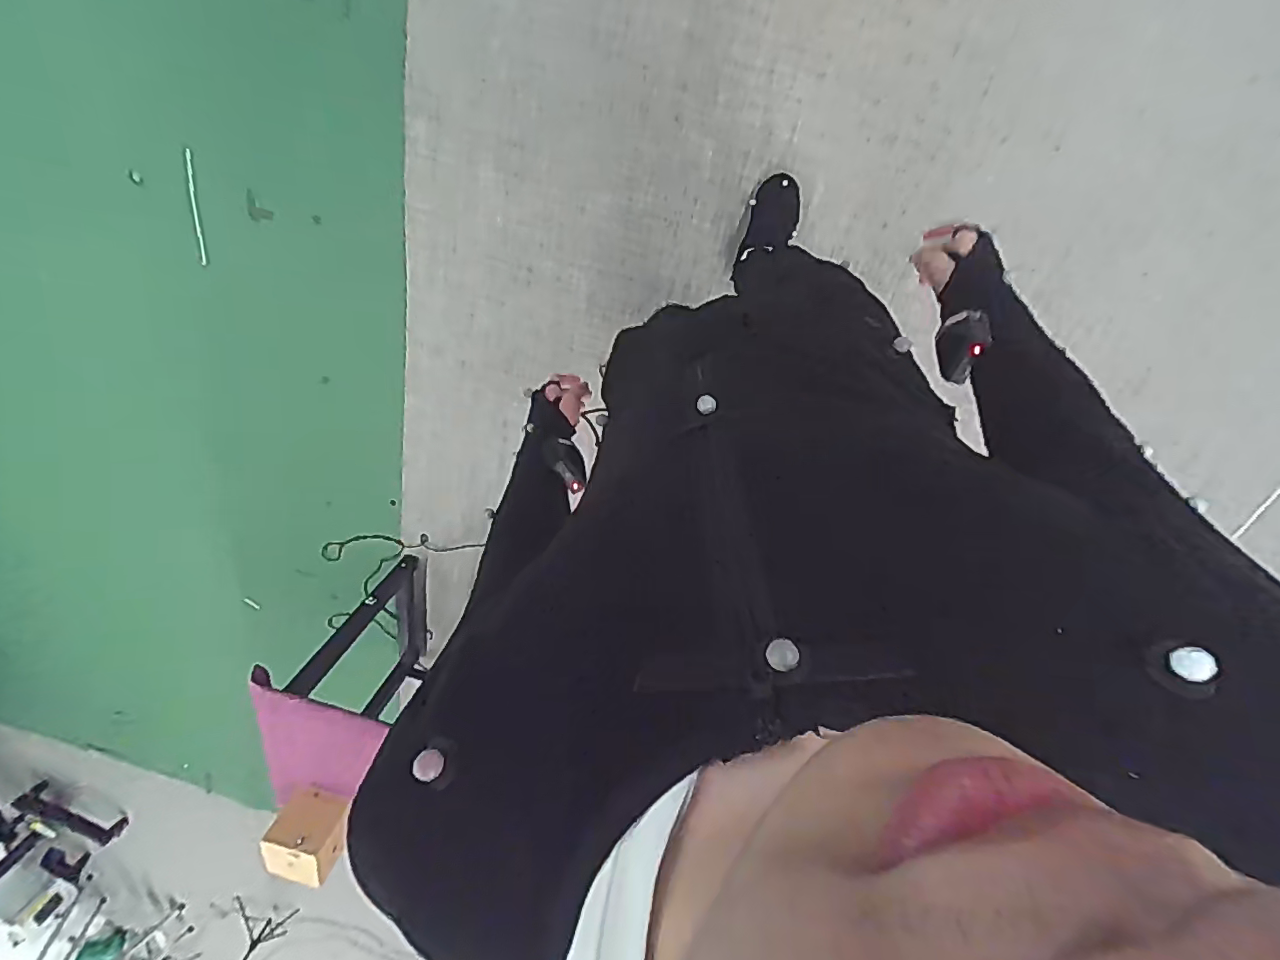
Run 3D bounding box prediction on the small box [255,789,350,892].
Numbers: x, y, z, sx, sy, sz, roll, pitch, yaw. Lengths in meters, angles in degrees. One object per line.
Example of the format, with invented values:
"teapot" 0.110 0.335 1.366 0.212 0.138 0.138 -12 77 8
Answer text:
"small box" -0.965 1.039 1.564 0.168 0.176 0.179 15 119 2
